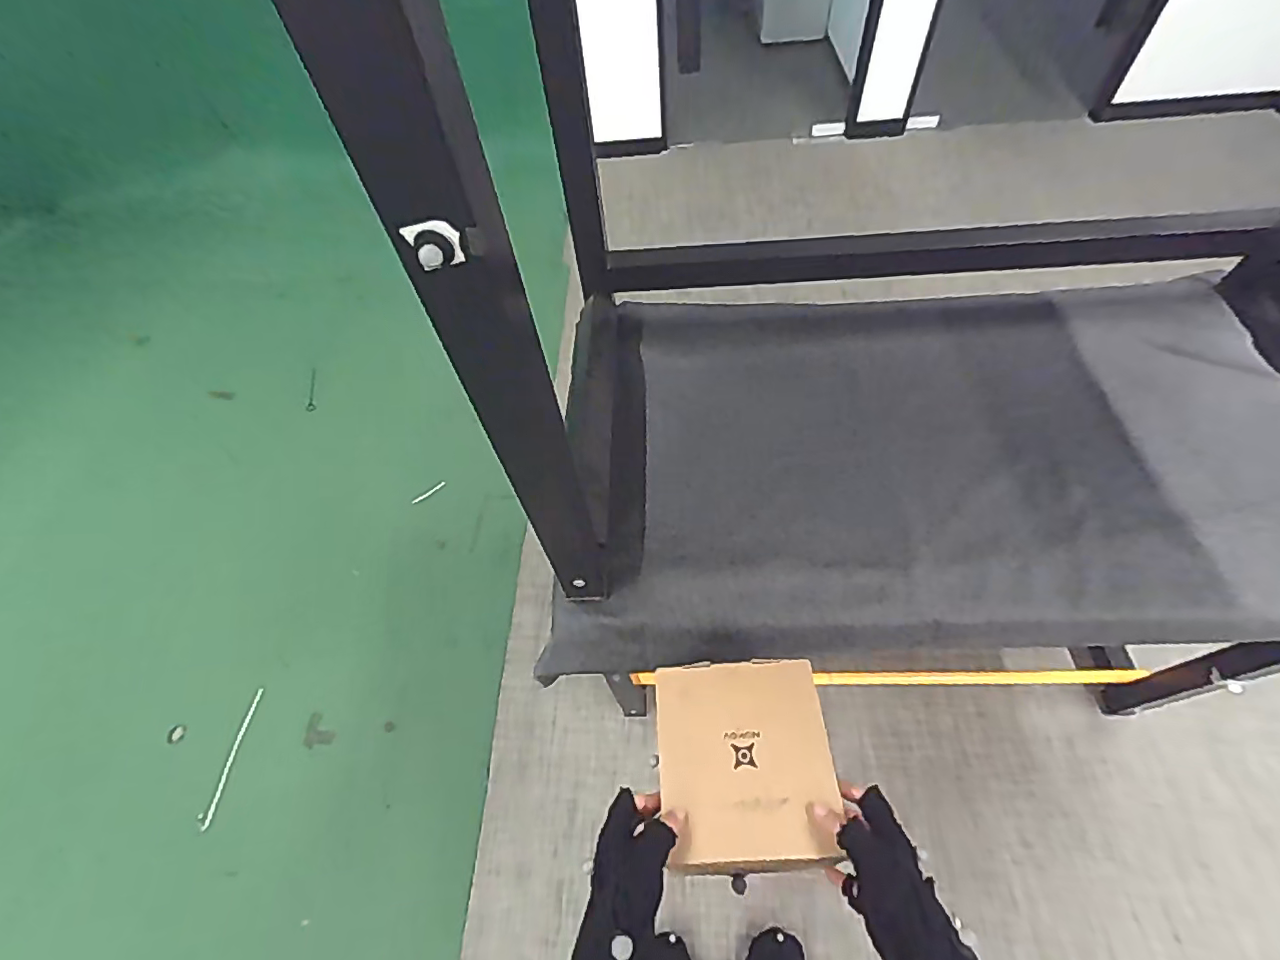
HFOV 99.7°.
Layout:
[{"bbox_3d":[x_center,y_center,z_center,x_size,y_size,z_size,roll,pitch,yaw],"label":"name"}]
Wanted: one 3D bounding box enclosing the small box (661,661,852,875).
[{"bbox_3d":[0.112,0.317,0.591,0.168,0.176,0.179,-6,51,5],"label":"small box"}]
